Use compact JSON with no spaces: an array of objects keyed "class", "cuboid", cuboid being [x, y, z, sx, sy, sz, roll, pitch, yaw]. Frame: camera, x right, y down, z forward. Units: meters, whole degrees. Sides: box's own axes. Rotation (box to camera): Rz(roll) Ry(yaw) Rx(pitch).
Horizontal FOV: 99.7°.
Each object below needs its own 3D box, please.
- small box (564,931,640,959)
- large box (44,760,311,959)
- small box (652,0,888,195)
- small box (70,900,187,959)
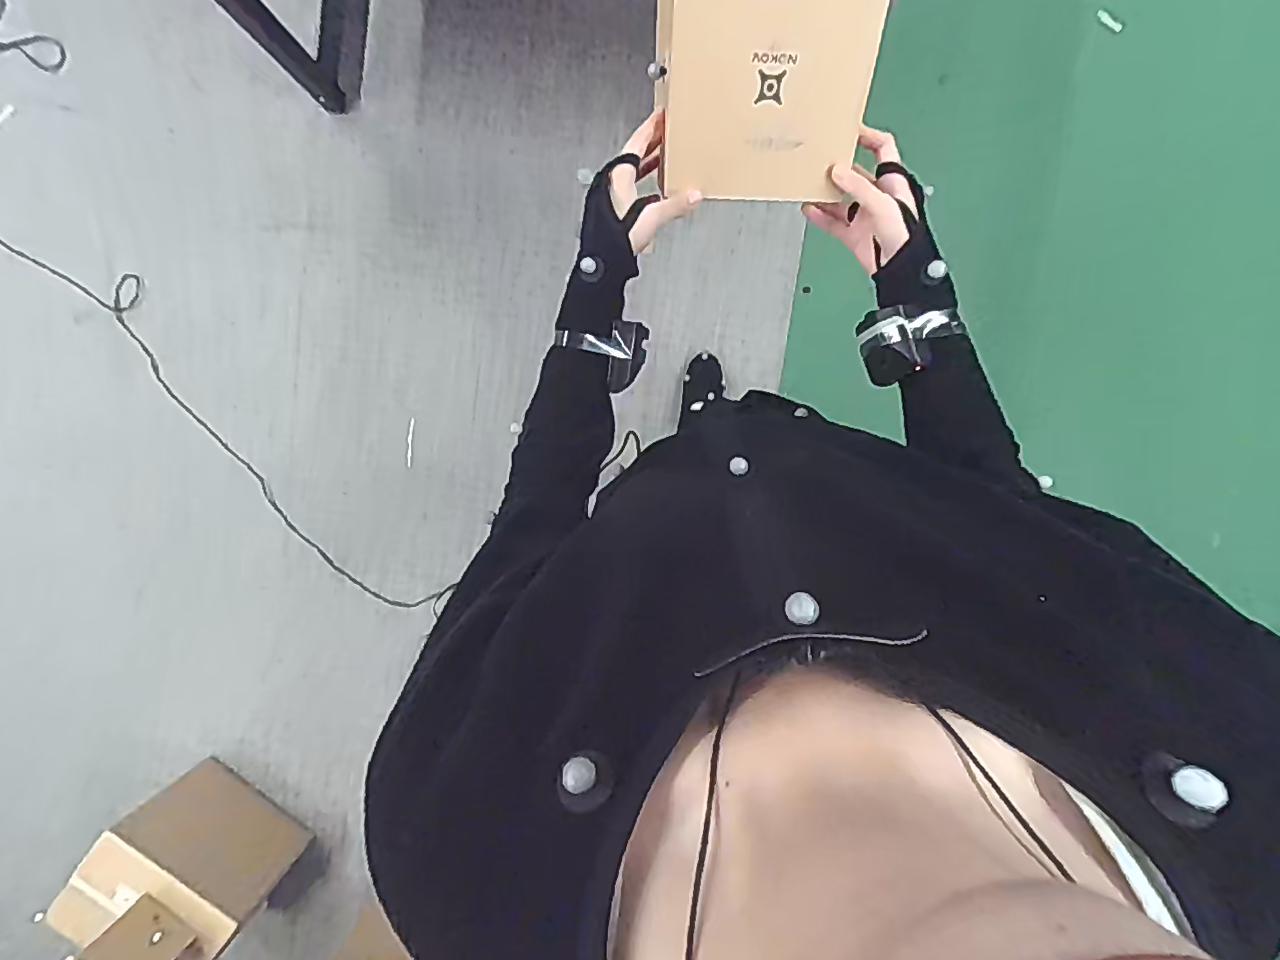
[{"class":"small box","cuboid":[-0.073,1.171,1.200,0.168,0.176,0.179,-29,93,3]},{"class":"large box","cuboid":[-1.222,1.072,1.471,0.408,0.320,0.320,37,95,0]},{"class":"small box","cuboid":[0.099,-0.371,0.490,0.168,0.176,0.179,0,127,-3]},{"class":"small box","cuboid":[-1.203,1.127,1.231,0.168,0.176,0.179,42,95,-1]}]
